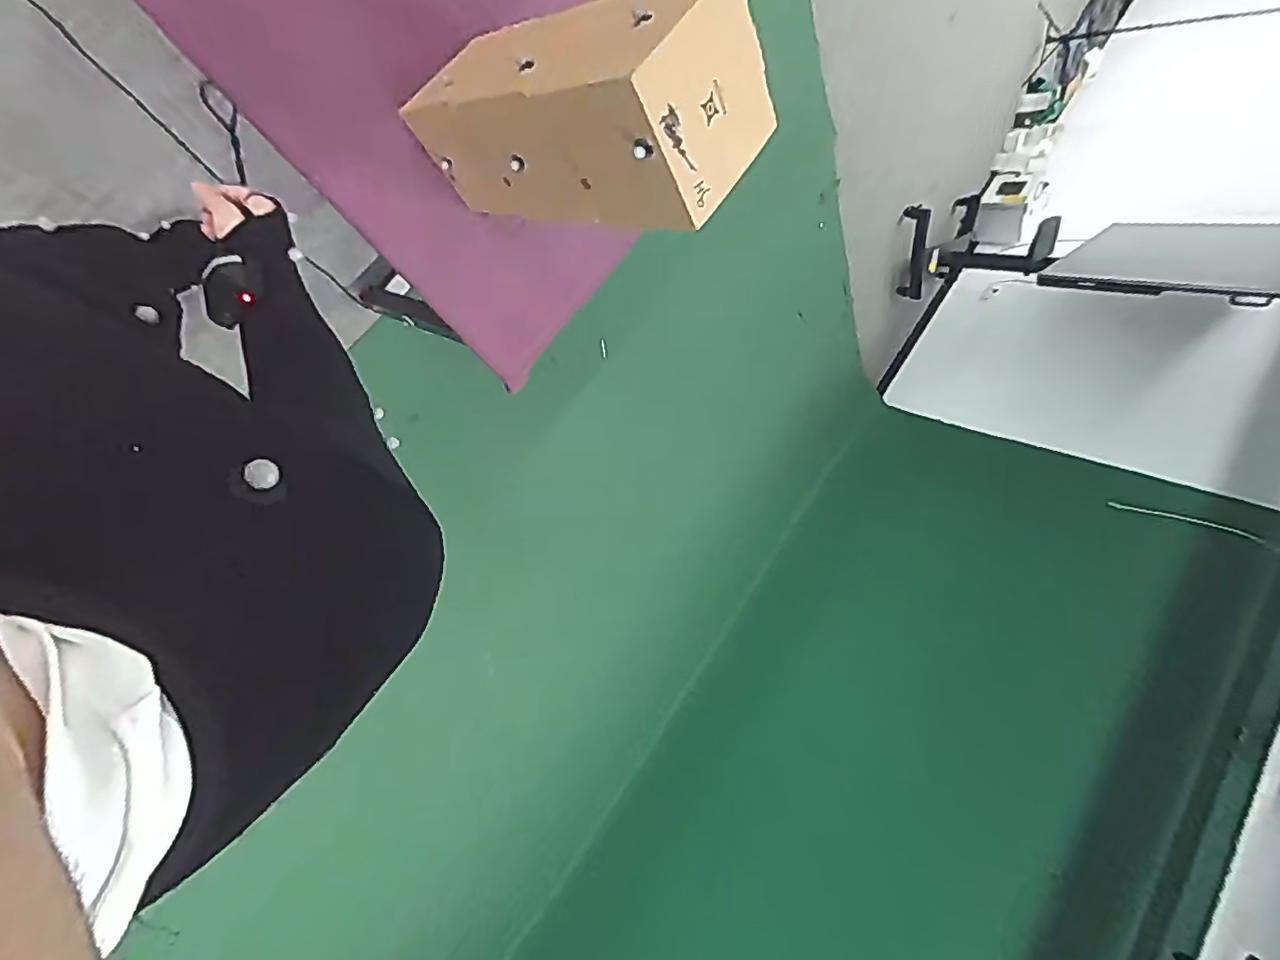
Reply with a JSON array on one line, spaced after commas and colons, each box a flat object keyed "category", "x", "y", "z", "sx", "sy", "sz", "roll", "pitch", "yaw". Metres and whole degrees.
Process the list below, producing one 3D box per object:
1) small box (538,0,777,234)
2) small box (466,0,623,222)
[{"category": "small box", "x": 0.021, "y": -0.404, "z": 0.599, "sx": 0.179, "sy": 0.176, "sz": 0.168, "roll": -56, "pitch": 140, "yaw": -12}, {"category": "small box", "x": -0.096, "y": -0.462, "z": 0.698, "sx": 0.179, "sy": 0.176, "sz": 0.168, "roll": -54, "pitch": 141, "yaw": -13}]
